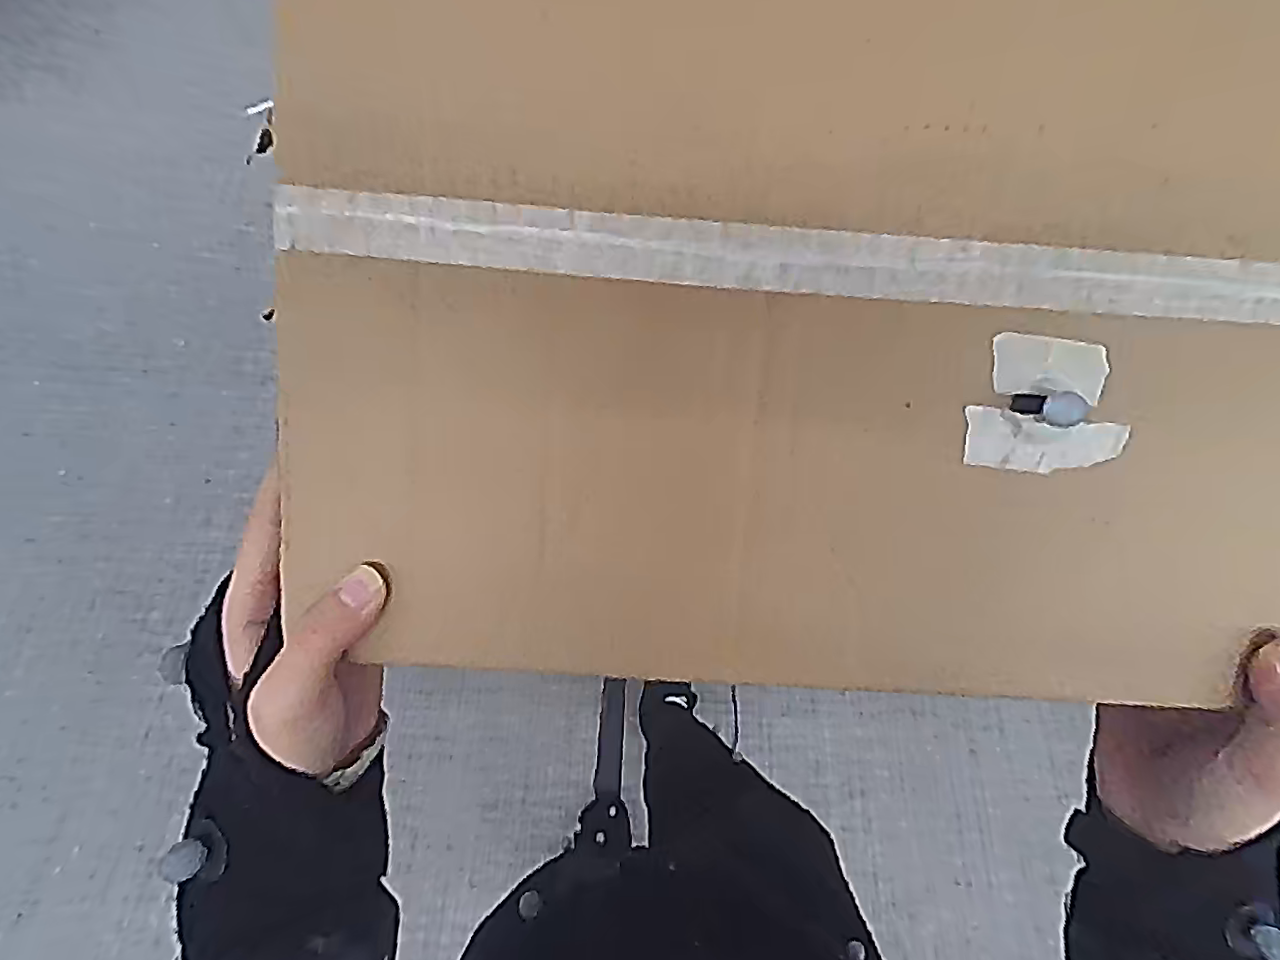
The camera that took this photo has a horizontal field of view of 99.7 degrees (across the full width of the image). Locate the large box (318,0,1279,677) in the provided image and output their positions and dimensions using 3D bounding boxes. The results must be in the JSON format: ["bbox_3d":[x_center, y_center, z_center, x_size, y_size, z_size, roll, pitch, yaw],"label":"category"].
[{"bbox_3d":[0.074,-0.089,0.353,0.408,0.320,0.320,3,96,-3],"label":"large box"}]
